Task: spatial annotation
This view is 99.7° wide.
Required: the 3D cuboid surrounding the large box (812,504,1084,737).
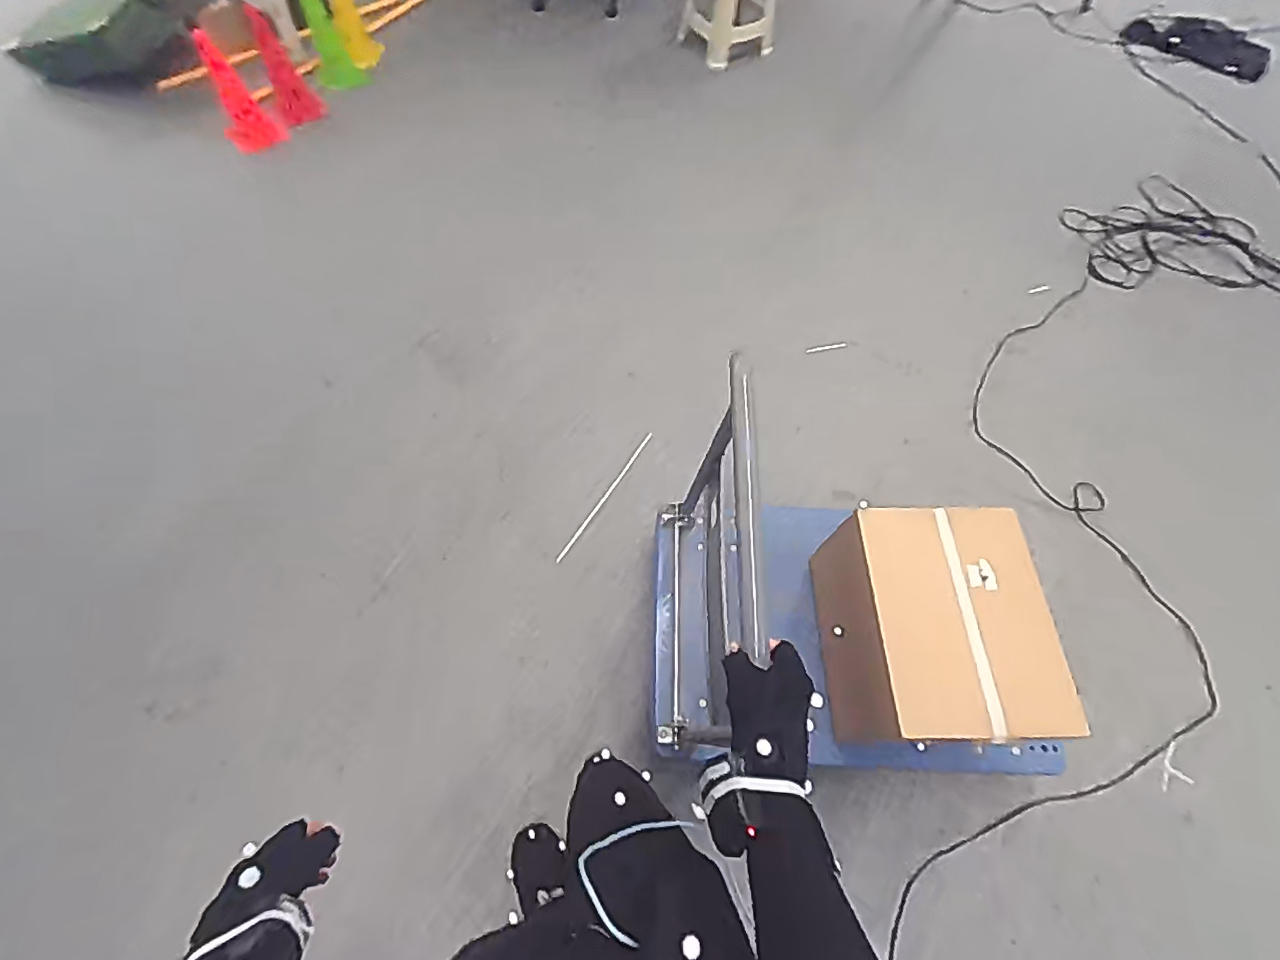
[{"bbox_3d":[0.571,0.294,1.100,0.320,0.320,0.408,1,63,-2],"label":"large box"}]
